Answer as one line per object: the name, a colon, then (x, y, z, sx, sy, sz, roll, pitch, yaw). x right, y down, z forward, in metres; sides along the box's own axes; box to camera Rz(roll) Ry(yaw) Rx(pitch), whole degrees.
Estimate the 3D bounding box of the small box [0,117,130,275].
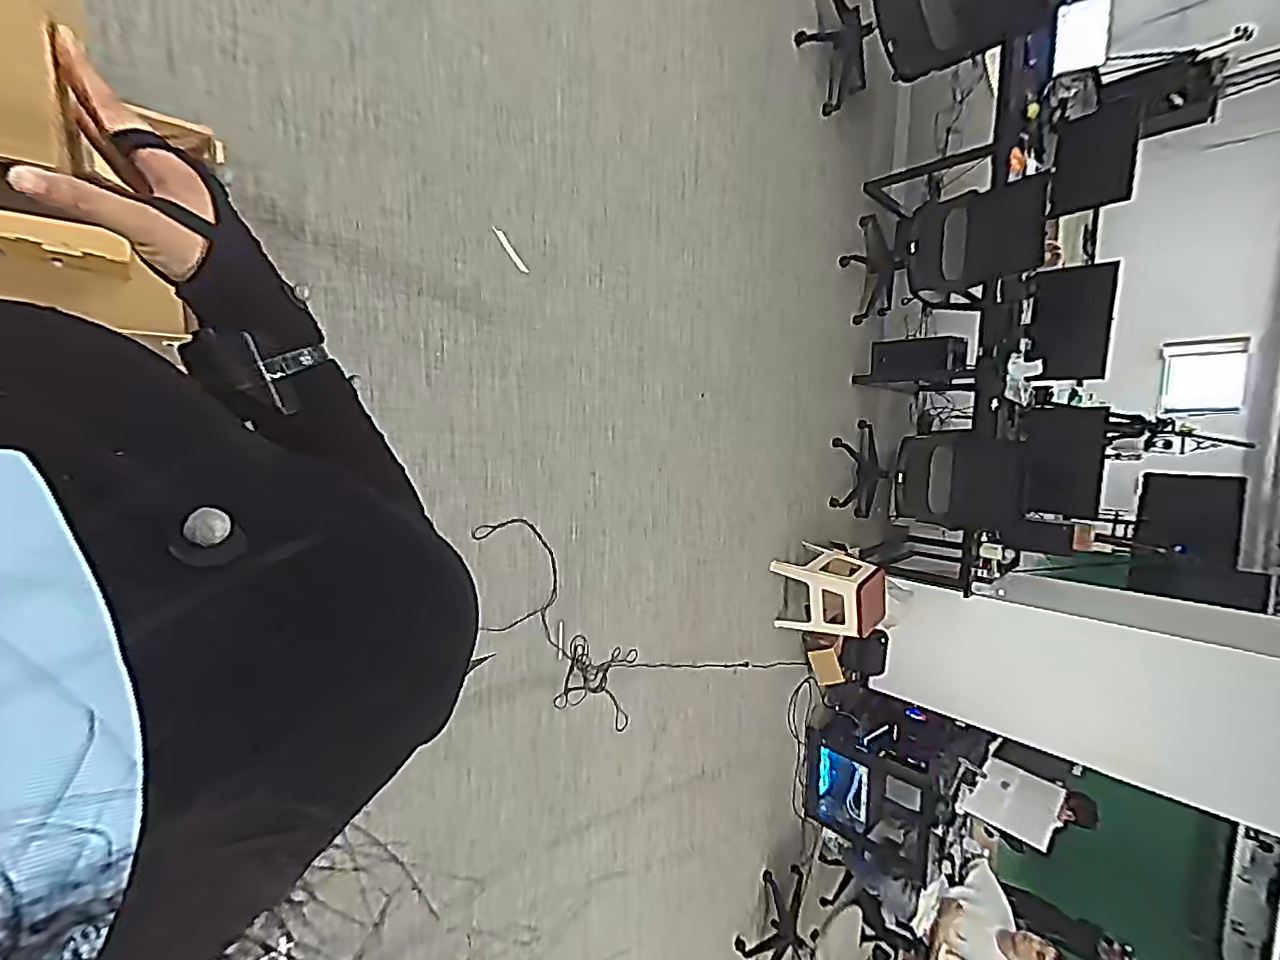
small box: (-1.006, -0.478, 0.938, 0.168, 0.176, 0.179, 2, 94, -45)
